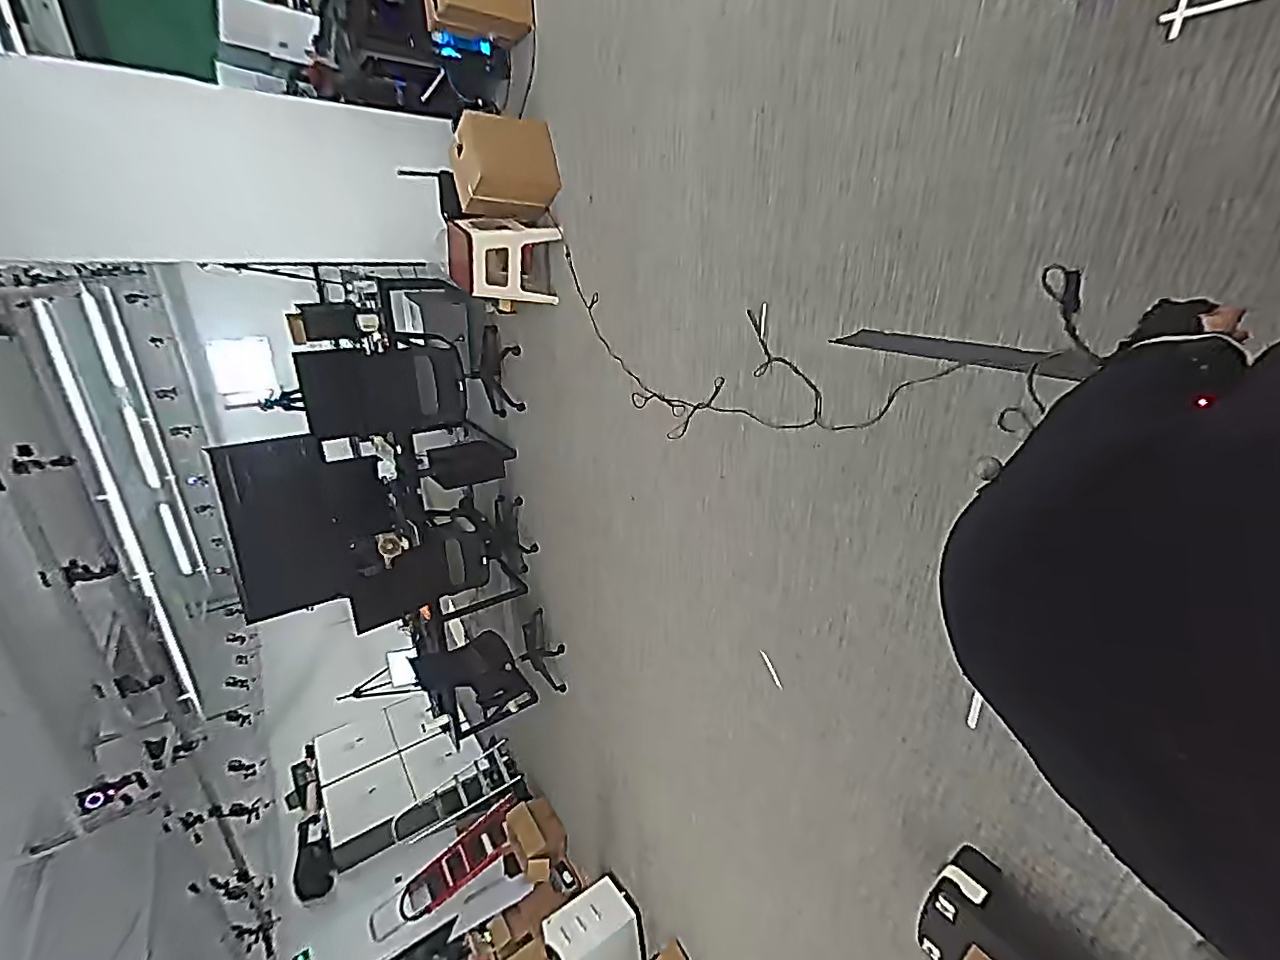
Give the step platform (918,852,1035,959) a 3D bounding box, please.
[{"bbox_3d":[1.077,1.346,1.369,0.684,0.204,0.286,28,125,48],"label":"step platform"}]
